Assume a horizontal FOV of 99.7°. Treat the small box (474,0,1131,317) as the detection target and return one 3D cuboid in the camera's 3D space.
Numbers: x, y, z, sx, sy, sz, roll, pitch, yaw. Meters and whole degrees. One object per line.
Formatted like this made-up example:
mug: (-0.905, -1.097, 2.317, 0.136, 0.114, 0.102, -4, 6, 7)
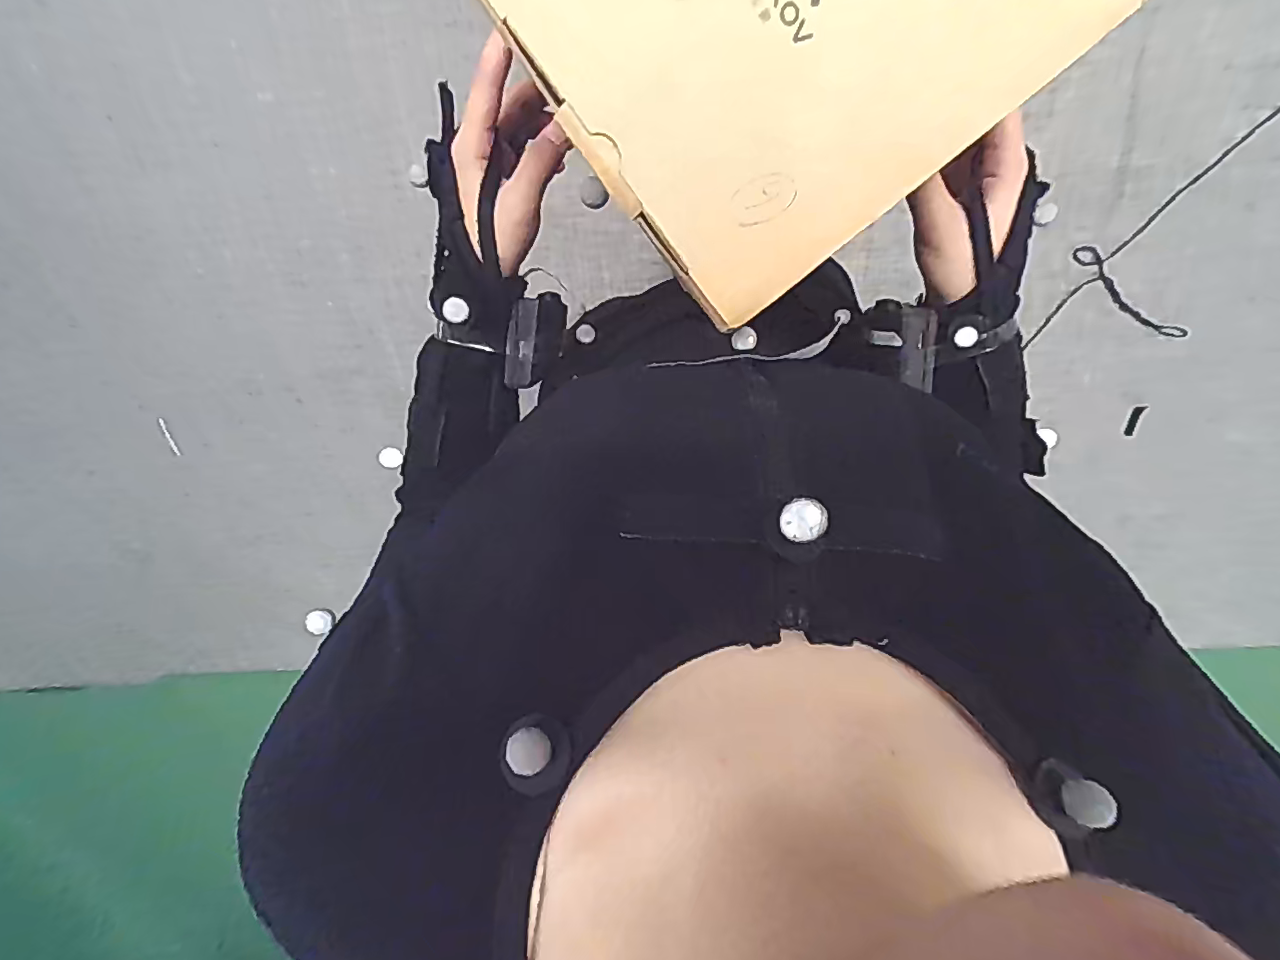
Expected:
small box: (0.051, -0.204, 0.250, 0.179, 0.176, 0.168, -36, 110, 16)
